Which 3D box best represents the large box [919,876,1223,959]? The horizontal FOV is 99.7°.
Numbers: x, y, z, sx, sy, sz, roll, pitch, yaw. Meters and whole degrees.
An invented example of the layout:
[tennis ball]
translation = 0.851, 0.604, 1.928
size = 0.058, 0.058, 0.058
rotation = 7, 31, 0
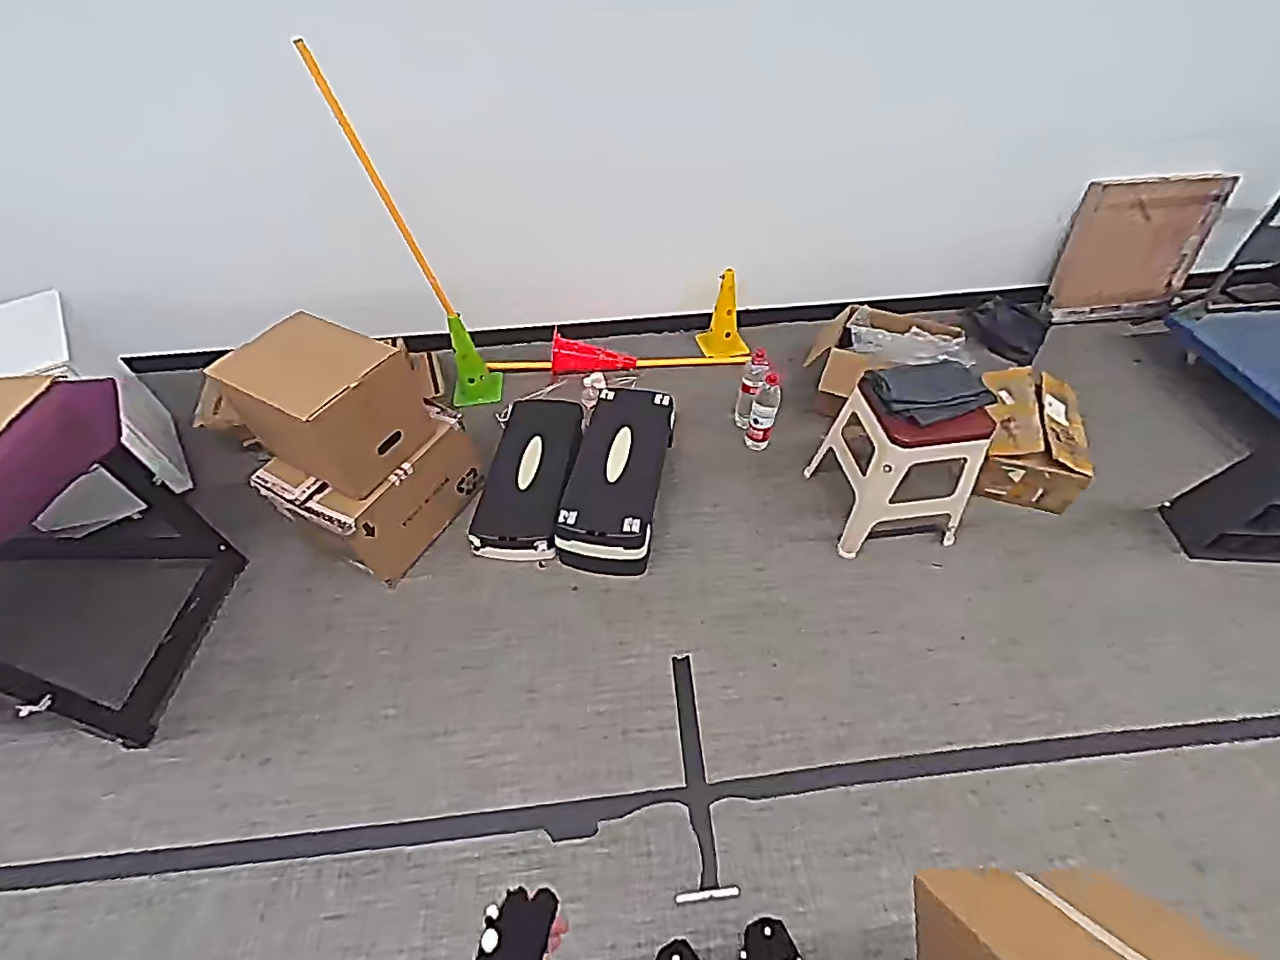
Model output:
[large box]
translation = 0.559, 0.717, 0.589
size = 0.320, 0.408, 0.320
rotation = 4, 79, -1
